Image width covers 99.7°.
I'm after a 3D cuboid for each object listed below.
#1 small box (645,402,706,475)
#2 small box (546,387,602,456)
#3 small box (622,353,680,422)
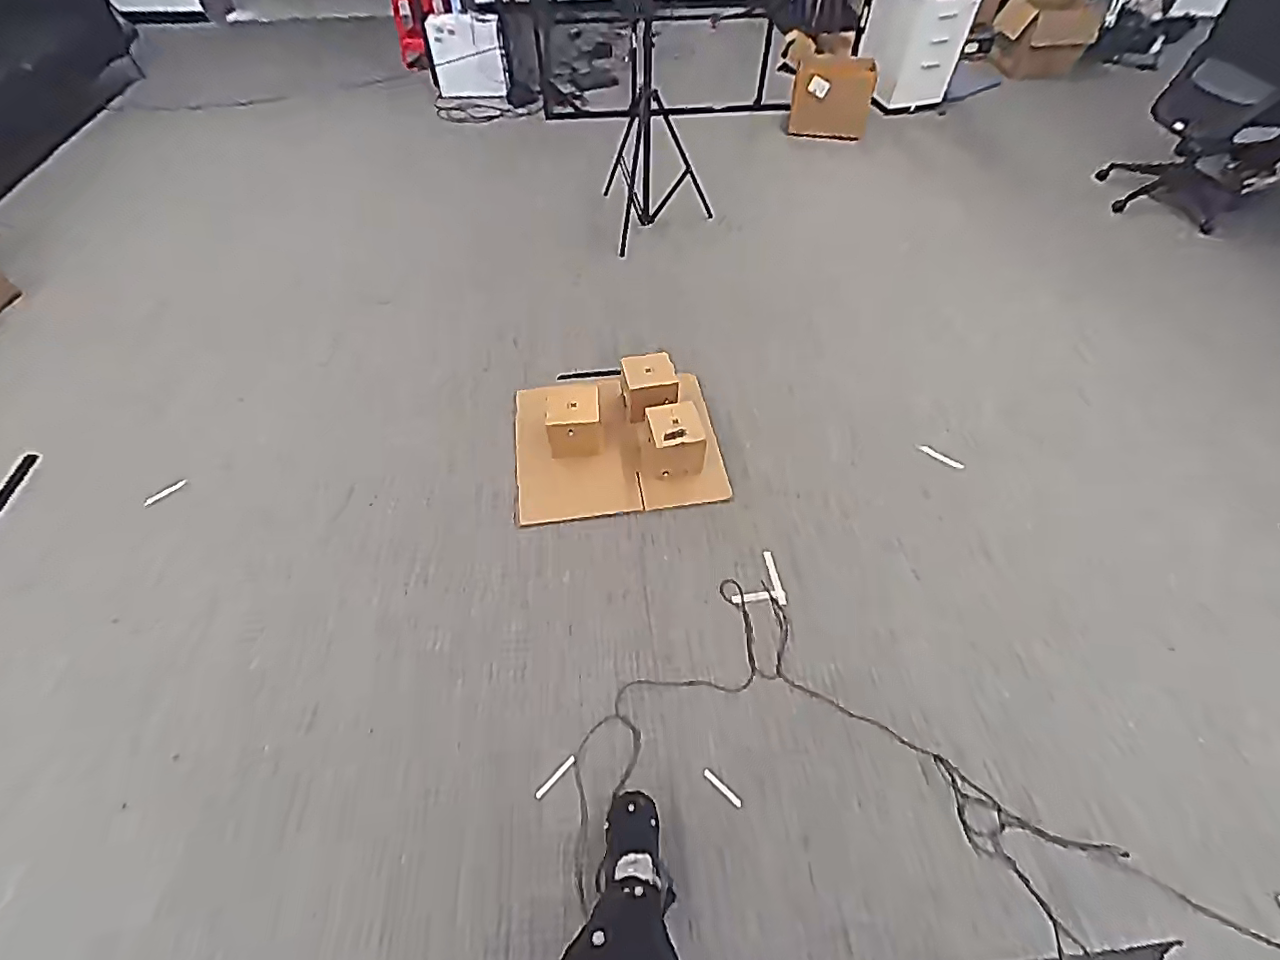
[{"bbox_3d":[0.114,-0.131,1.791,0.168,0.176,0.179,-9,54,-7],"label":"small box"},{"bbox_3d":[-0.220,-0.197,1.837,0.179,0.176,0.168,-4,54,-2],"label":"small box"},{"bbox_3d":[0.035,-0.329,1.939,0.179,0.176,0.168,-11,53,-7],"label":"small box"}]
